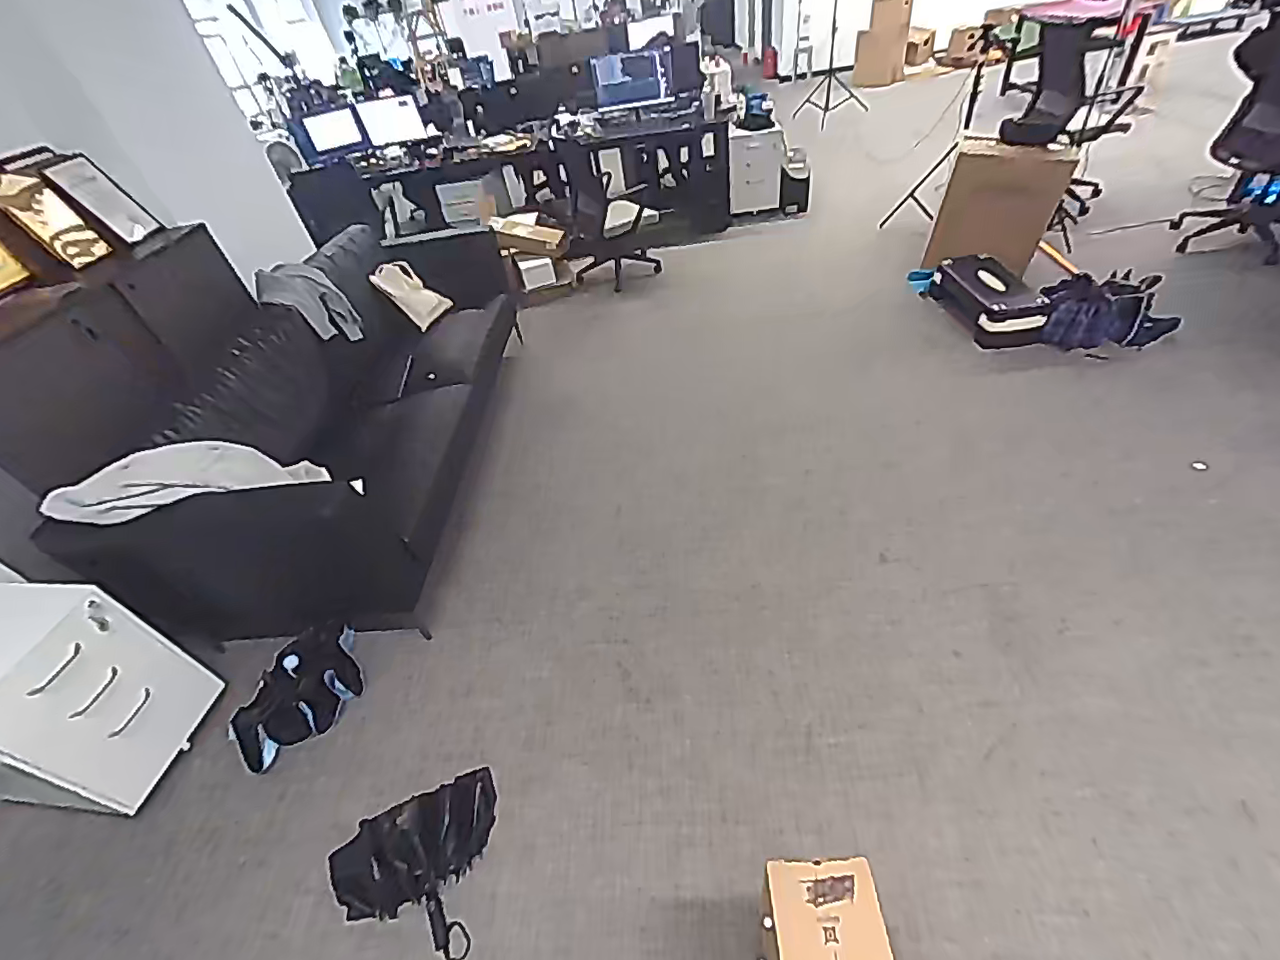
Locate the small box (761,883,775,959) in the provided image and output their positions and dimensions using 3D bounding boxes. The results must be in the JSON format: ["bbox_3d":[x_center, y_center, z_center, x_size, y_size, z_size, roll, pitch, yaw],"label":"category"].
[{"bbox_3d":[0.318,0.854,0.985,0.168,0.176,0.179,-6,43,4],"label":"small box"}]

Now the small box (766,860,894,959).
[{"bbox_3d":[0.299,0.736,0.871,0.168,0.176,0.179,-6,45,5],"label":"small box"}]
